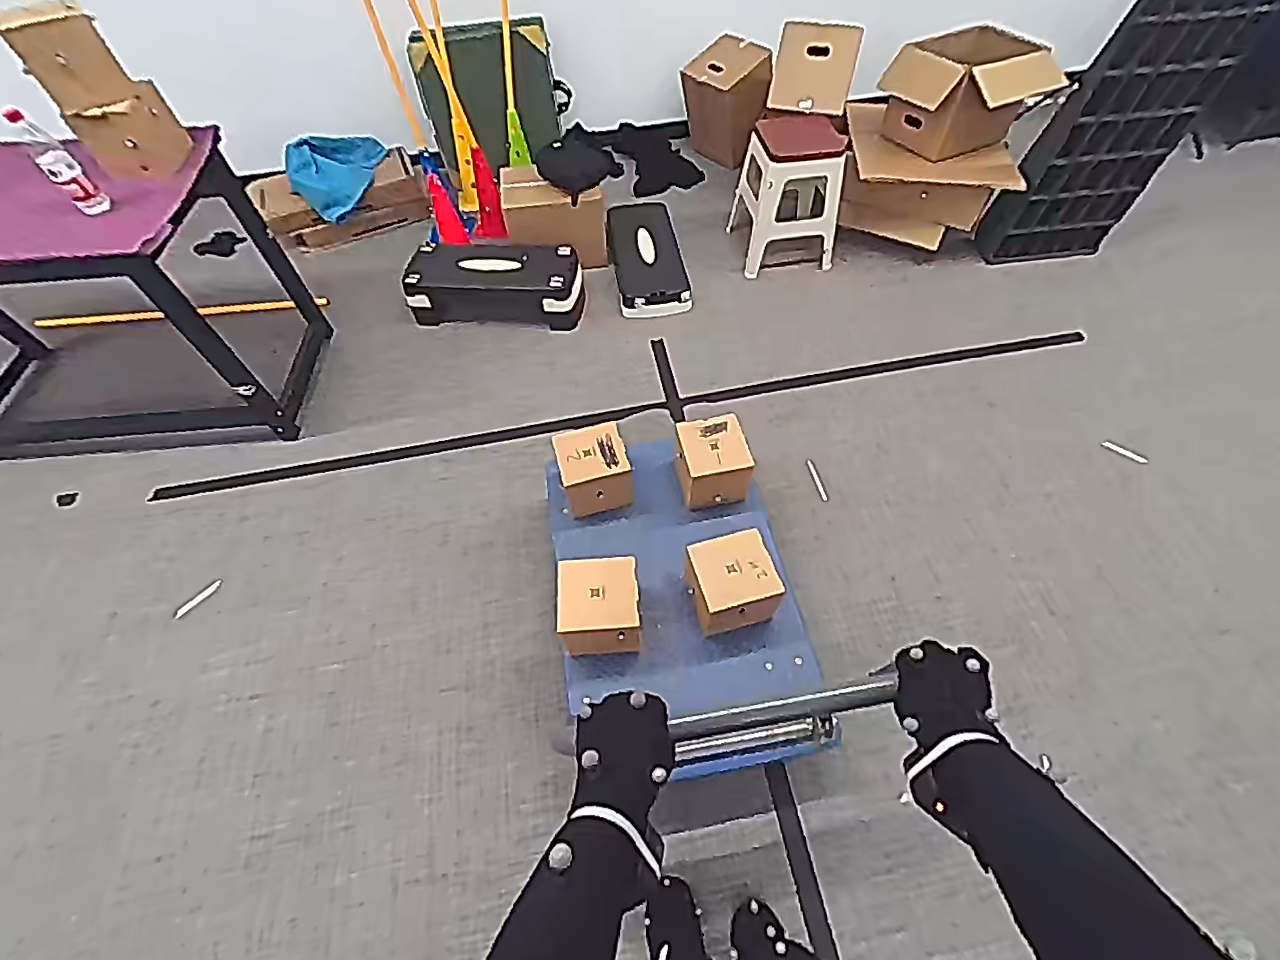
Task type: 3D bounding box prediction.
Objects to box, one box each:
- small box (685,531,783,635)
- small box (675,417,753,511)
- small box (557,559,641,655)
[{"bbox_3d":[0.211,0.247,1.267,0.179,0.176,0.168,-14,57,-7],"label":"small box"},{"bbox_3d":[0.191,-0.040,1.458,0.168,0.176,0.179,-11,58,-5],"label":"small box"},{"bbox_3d":[-0.091,0.296,1.244,0.179,0.176,0.168,-3,56,-2],"label":"small box"}]
